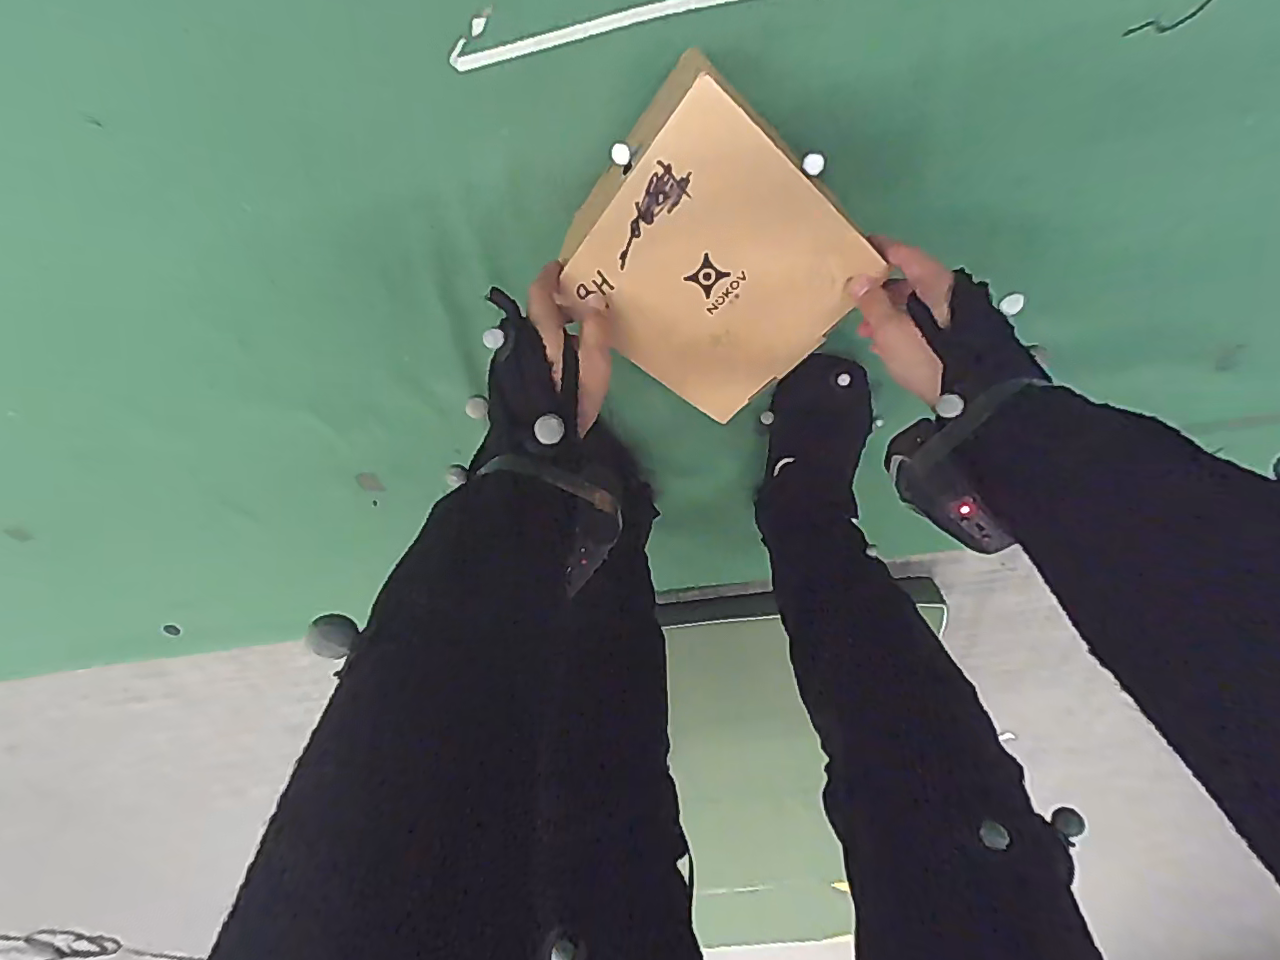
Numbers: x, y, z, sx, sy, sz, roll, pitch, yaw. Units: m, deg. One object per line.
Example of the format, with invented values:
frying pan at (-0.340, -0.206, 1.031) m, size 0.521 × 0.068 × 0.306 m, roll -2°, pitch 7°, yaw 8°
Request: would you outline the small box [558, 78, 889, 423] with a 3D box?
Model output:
small box at (0.060, -0.187, 0.440) m, size 0.179 × 0.176 × 0.168 m, roll 32°, pitch 125°, yaw -23°
